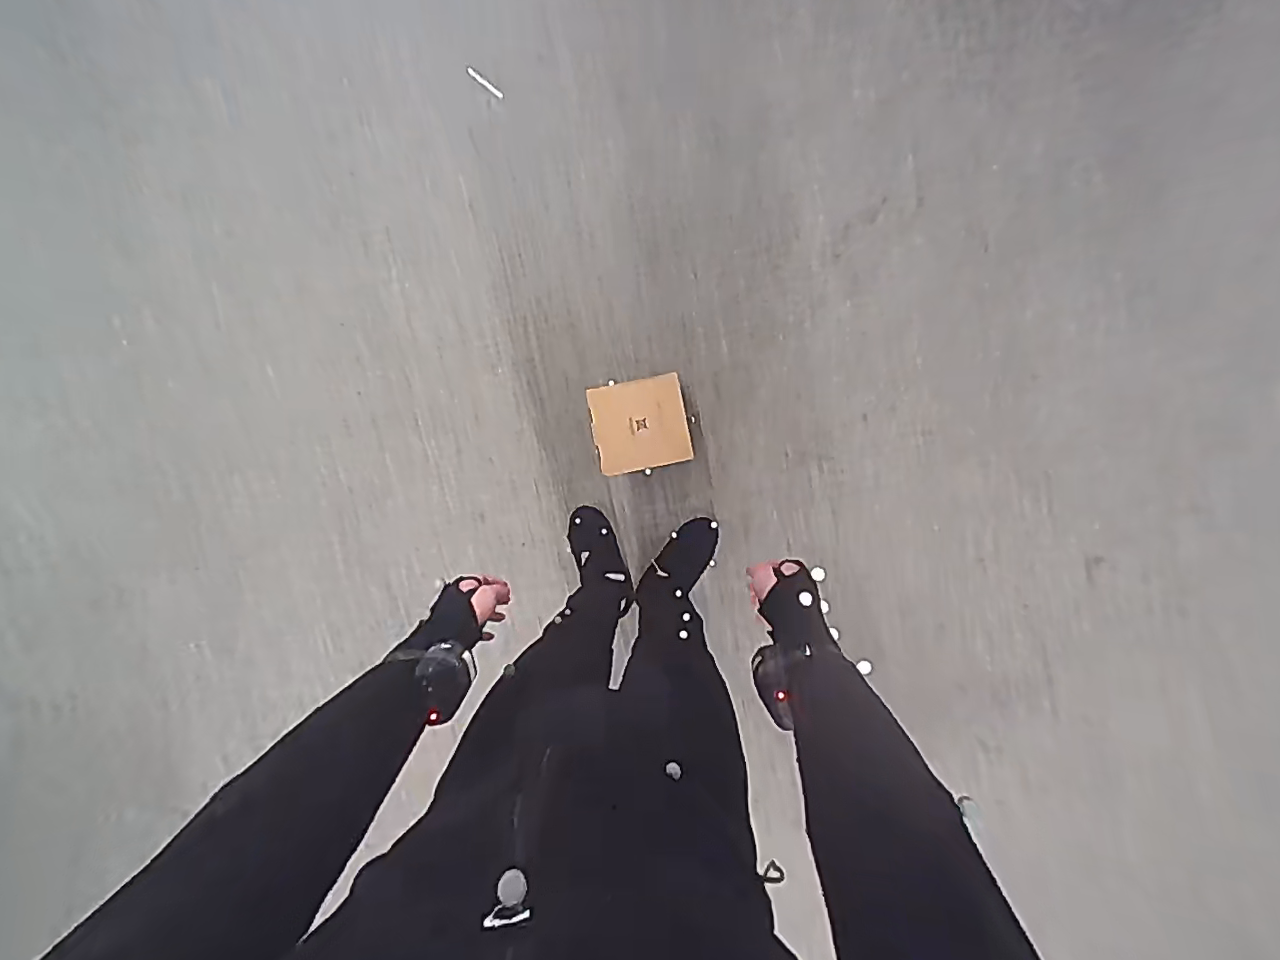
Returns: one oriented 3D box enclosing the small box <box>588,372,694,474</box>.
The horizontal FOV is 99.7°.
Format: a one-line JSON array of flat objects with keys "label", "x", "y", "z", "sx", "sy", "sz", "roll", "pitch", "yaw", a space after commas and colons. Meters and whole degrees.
[{"label": "small box", "x": 0.007, "y": -0.111, "z": 1.085, "sx": 0.179, "sy": 0.176, "sz": 0.168, "roll": -12, "pitch": 95, "yaw": 4}]
